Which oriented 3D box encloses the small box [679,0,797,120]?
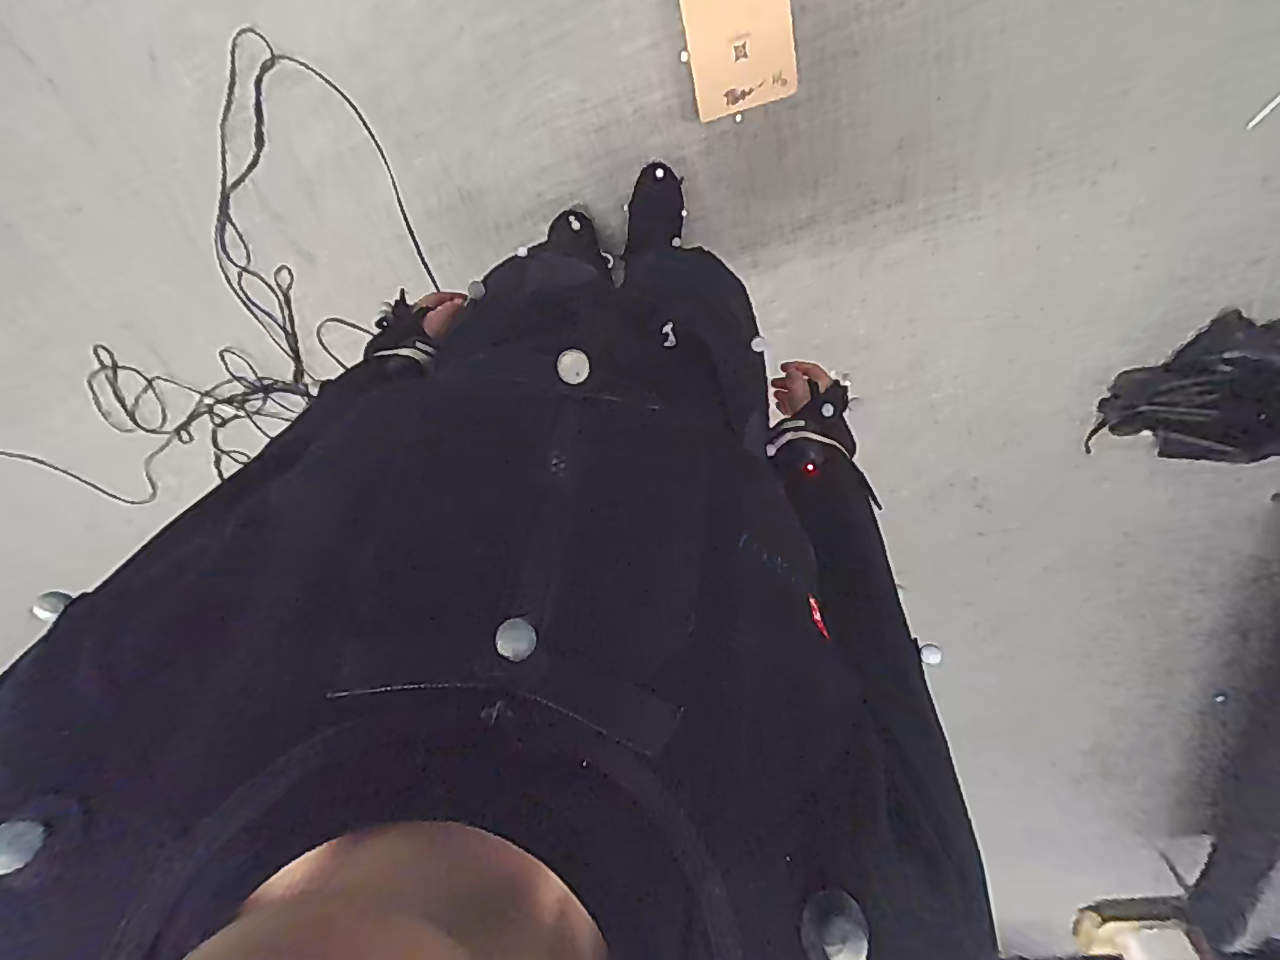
[{"bbox_3d":[0.162,-0.739,0.925,0.168,0.176,0.179,-11,122,11],"label":"small box"}]
